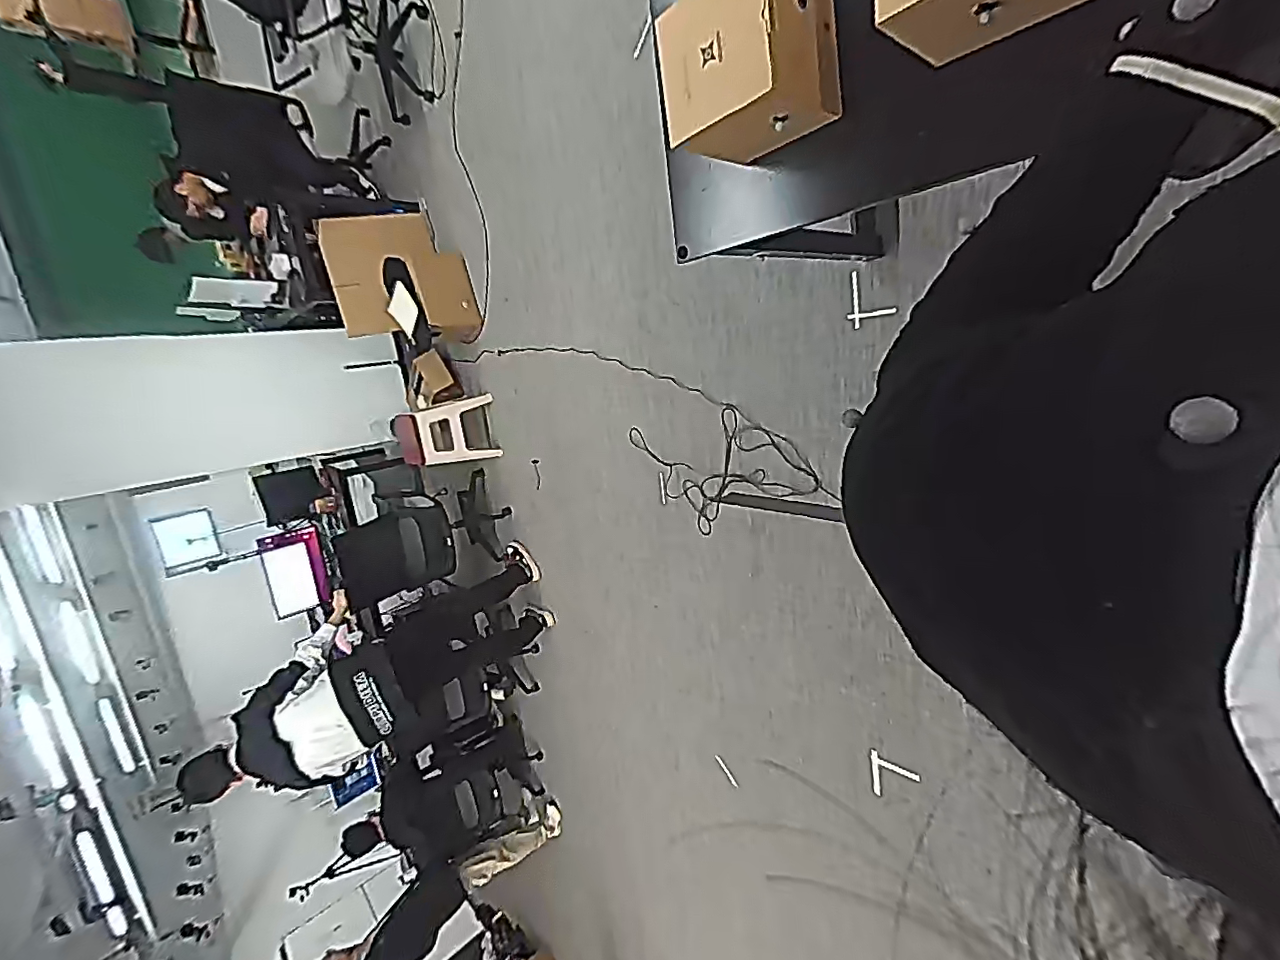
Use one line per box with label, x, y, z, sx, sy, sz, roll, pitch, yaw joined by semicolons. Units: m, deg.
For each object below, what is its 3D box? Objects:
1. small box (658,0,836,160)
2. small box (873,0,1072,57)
small box;0.152;-0.568;0.741;0.179;0.176;0.168;3;105;49
small box;0.346;-0.554;0.519;0.179;0.176;0.168;8;110;49
